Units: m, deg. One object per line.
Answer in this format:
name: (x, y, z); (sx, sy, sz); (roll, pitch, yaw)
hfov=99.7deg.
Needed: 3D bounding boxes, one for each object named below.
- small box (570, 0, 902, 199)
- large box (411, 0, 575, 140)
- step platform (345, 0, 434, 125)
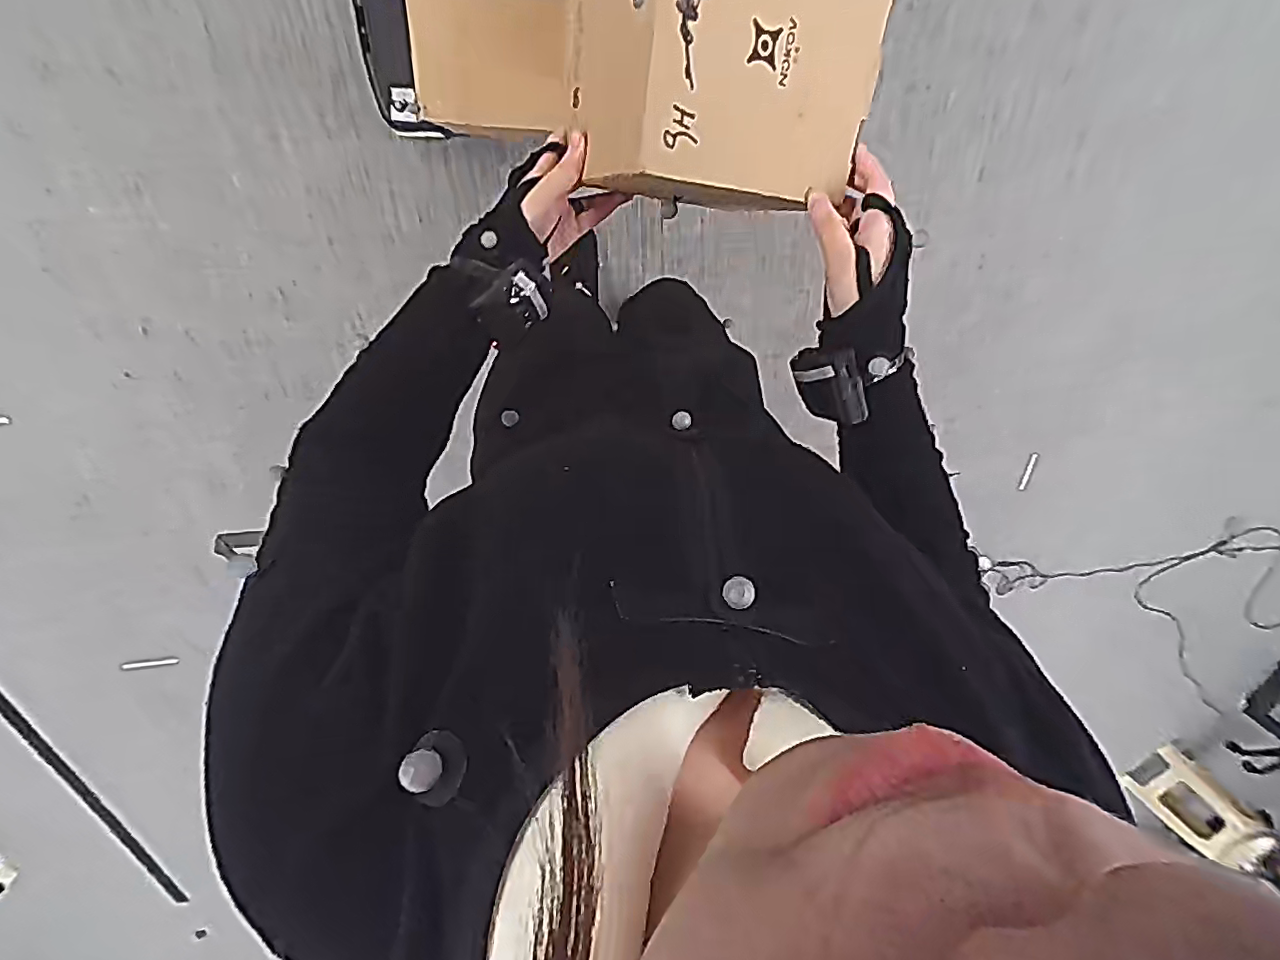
small box: (0.061, -0.315, 0.405); (0.179, 0.176, 0.168); (-4, 115, -25)
large box: (-0.103, -0.691, 0.804); (0.408, 0.320, 0.320); (-1, 119, -9)
step platform: (-0.166, -0.802, 1.007); (0.684, 0.204, 0.286); (1, 119, -10)
